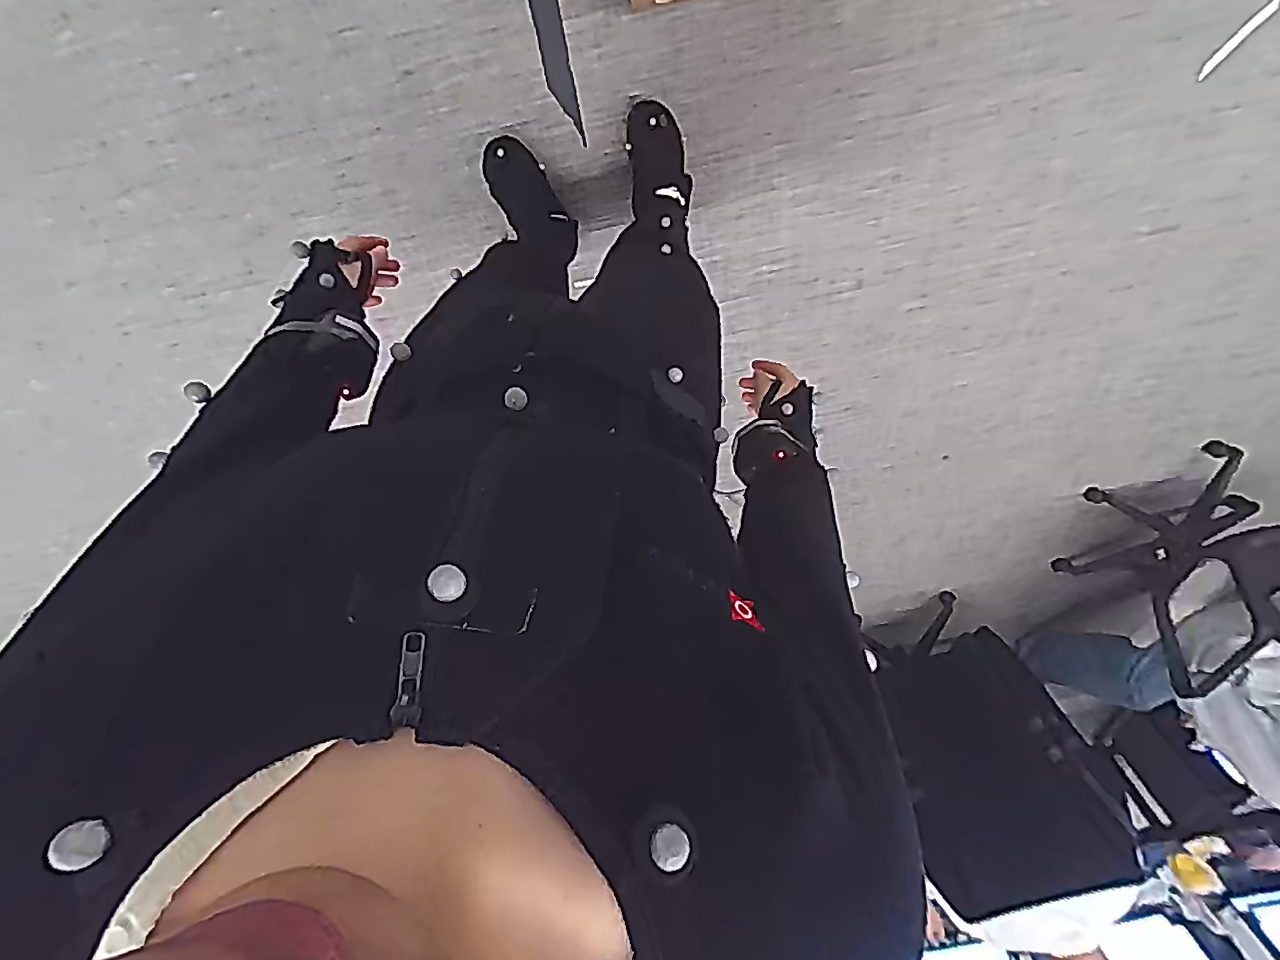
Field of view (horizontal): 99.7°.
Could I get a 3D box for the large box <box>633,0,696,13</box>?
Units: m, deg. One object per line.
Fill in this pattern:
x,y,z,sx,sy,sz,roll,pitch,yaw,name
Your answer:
0.169,-0.877,0.723,0.408,0.320,0.320,-12,130,1,large box
